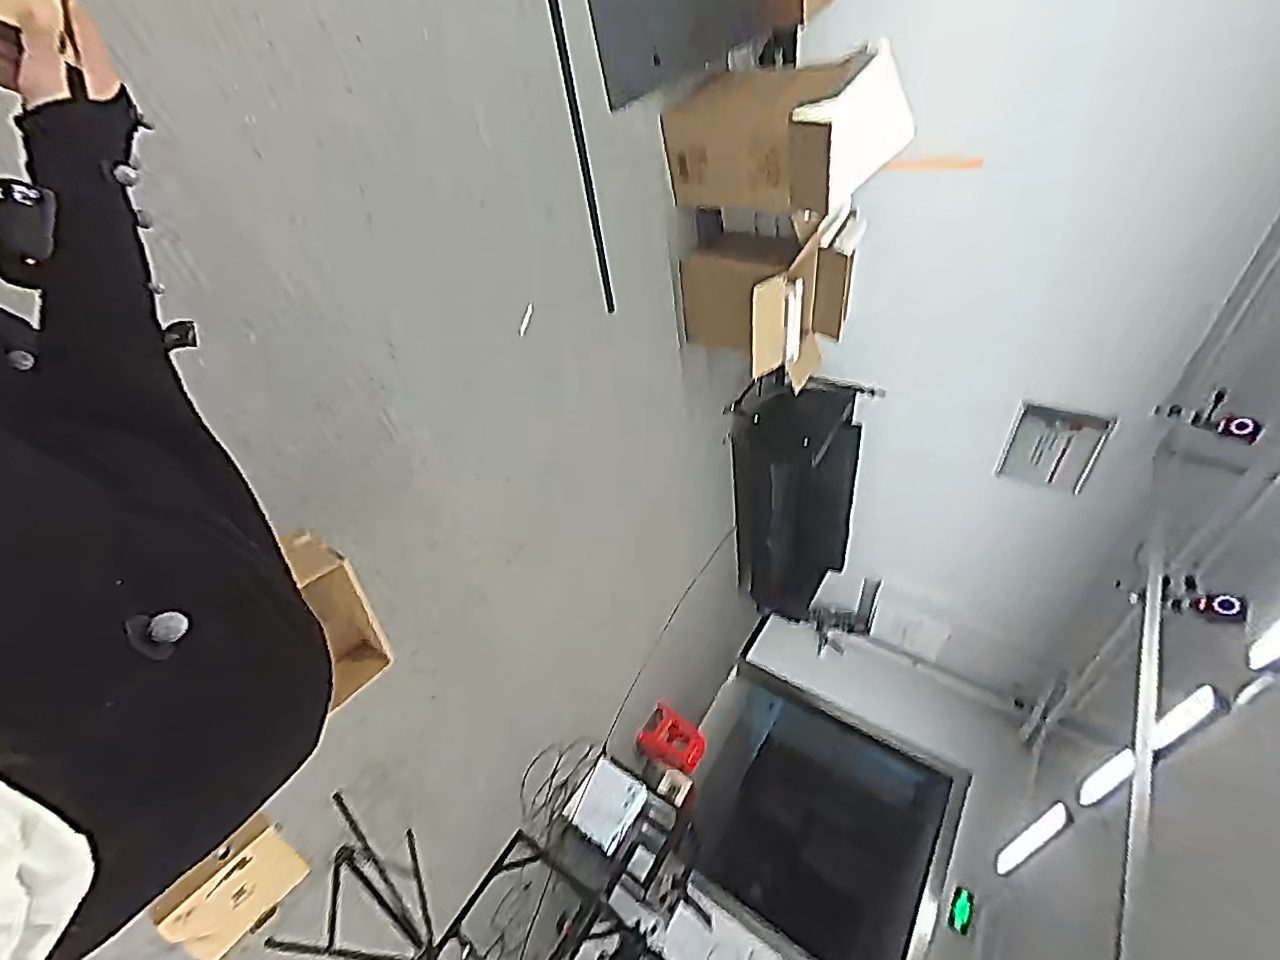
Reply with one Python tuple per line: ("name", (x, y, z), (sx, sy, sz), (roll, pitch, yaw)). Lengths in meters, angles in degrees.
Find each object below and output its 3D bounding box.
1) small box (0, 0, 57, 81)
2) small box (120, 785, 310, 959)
("small box", (-0.585, -0.443, 0.409), (0.179, 0.176, 0.168), (-4, 102, -52))
("small box", (-0.697, 0.652, 0.896), (0.168, 0.176, 0.179), (-39, 139, -44))
